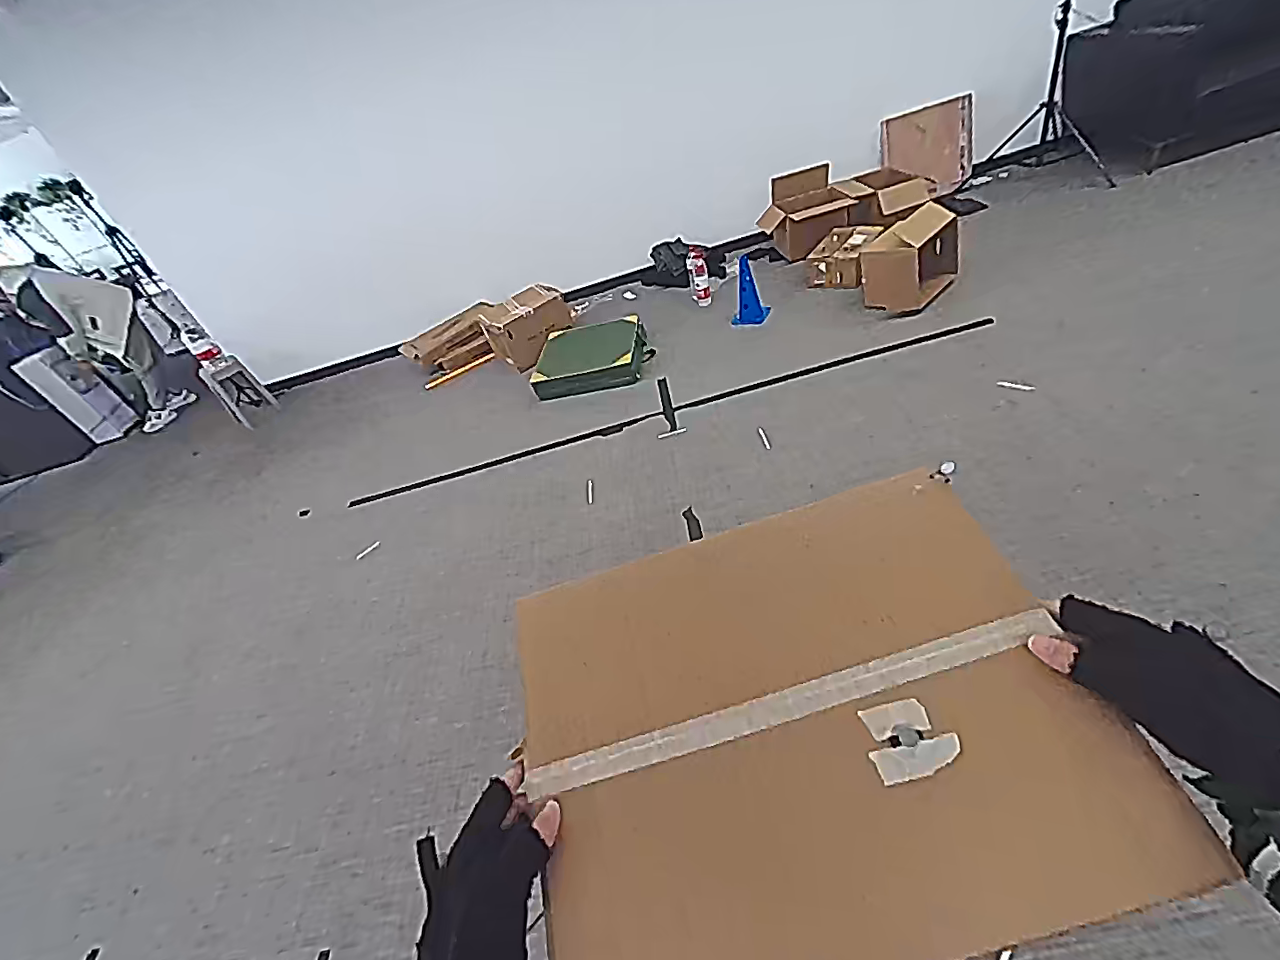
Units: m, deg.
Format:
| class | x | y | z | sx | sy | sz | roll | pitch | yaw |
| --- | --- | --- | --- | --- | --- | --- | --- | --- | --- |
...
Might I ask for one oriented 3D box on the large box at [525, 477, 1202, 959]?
| class | x | y | z | sx | sy | sz | roll | pitch | yaw |
| --- | --- | --- | --- | --- | --- | --- | --- | --- | --- |
| large box | 0.144 | 0.261 | 0.531 | 0.408 | 0.320 | 0.320 | -19 | 53 | 1 |
